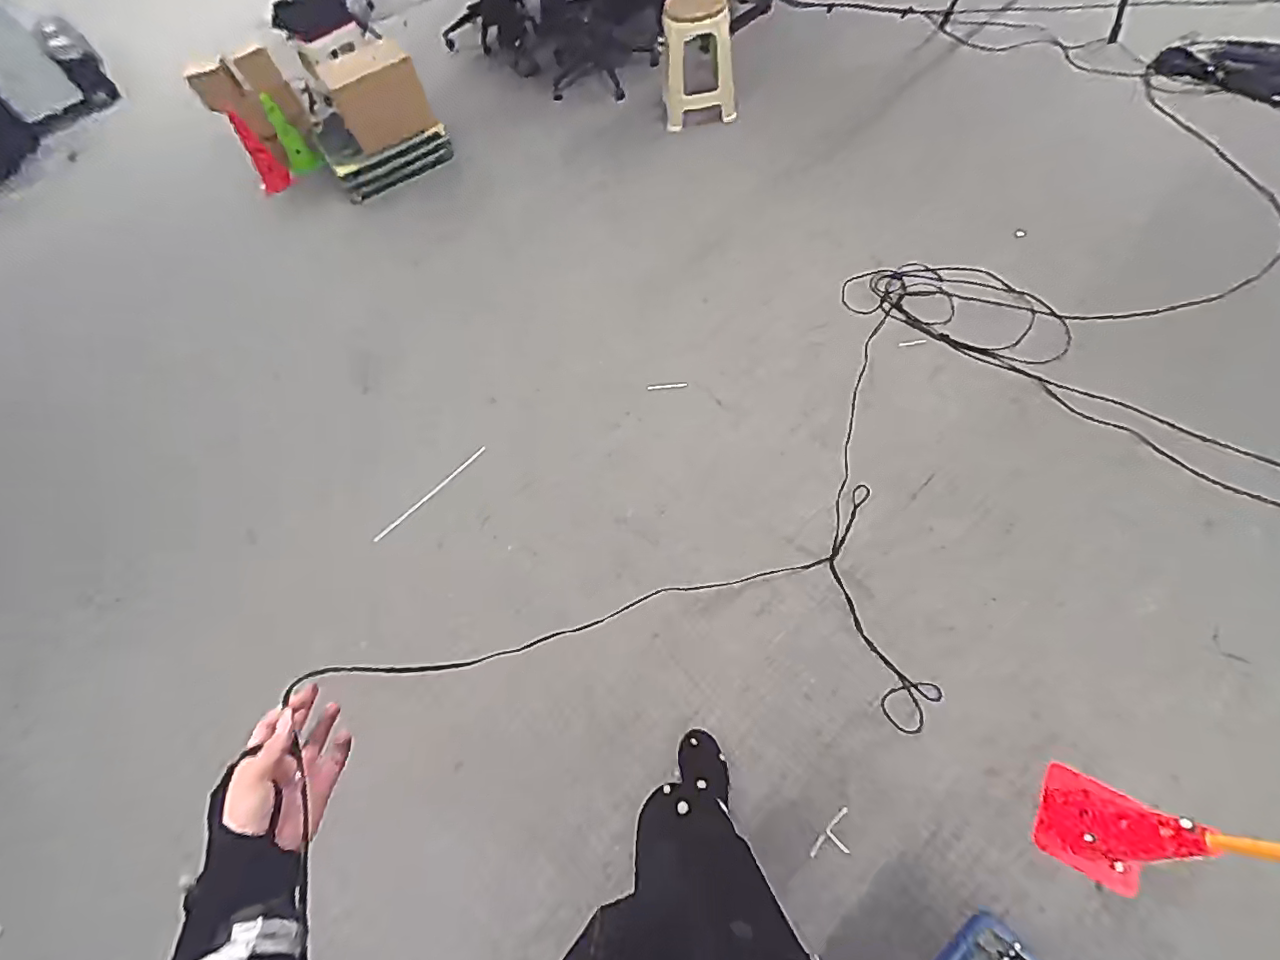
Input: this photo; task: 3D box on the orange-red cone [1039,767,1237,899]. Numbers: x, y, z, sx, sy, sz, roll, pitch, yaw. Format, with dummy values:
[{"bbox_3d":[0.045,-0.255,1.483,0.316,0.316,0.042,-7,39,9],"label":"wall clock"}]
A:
[{"bbox_3d":[0.991,0.691,1.053,0.198,0.360,0.199,25,66,19],"label":"orange-red cone"}]
